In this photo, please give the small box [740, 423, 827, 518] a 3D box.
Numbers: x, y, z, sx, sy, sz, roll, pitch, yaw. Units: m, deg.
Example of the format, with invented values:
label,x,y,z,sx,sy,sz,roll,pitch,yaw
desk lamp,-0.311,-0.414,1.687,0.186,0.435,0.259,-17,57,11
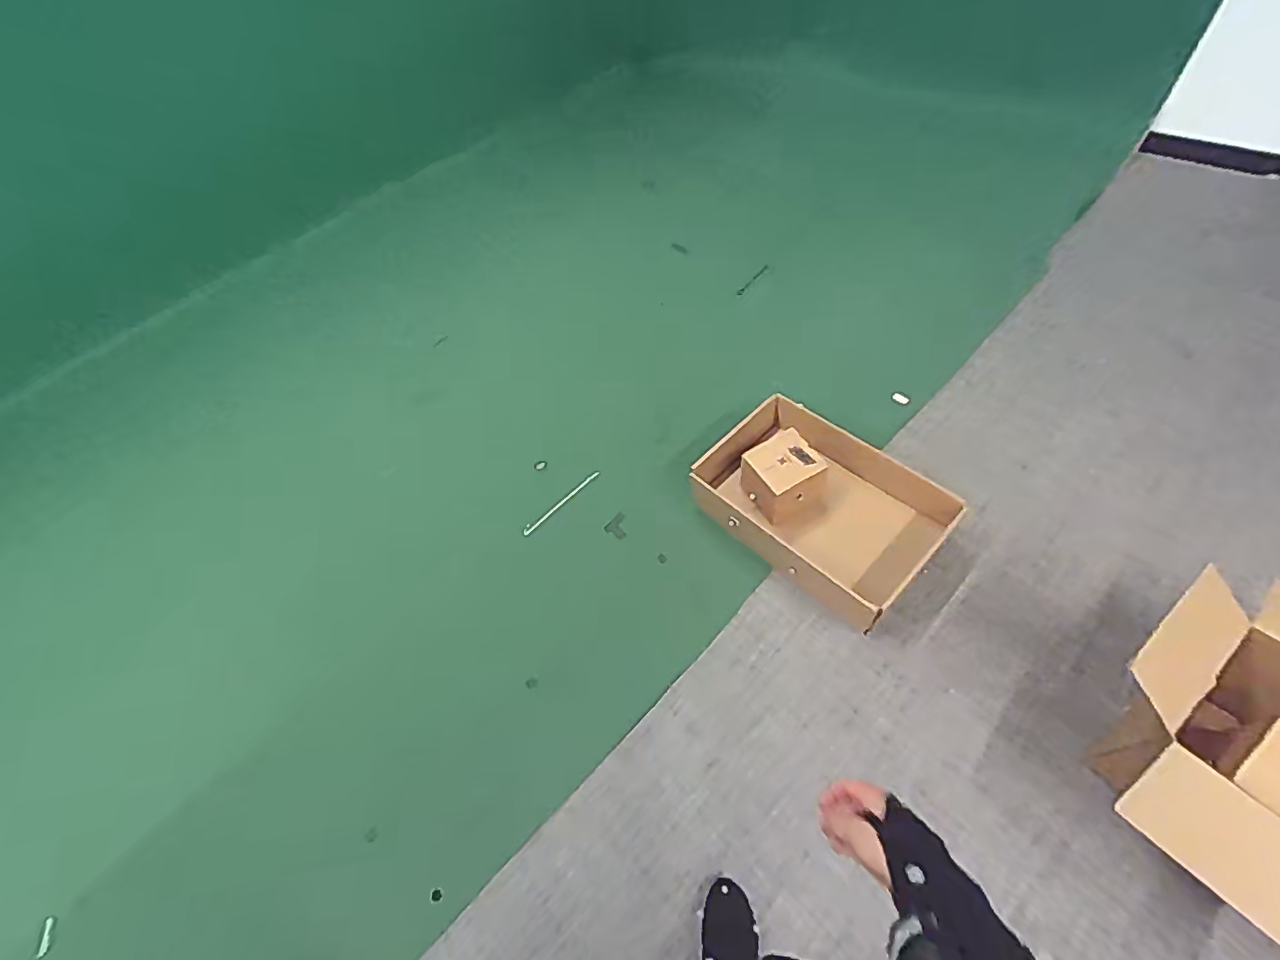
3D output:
label,x,y,z,sx,sy,sz,roll,pitch,yaw
small box,0.401,-0.024,1.548,0.179,0.176,0.168,-28,57,-10
